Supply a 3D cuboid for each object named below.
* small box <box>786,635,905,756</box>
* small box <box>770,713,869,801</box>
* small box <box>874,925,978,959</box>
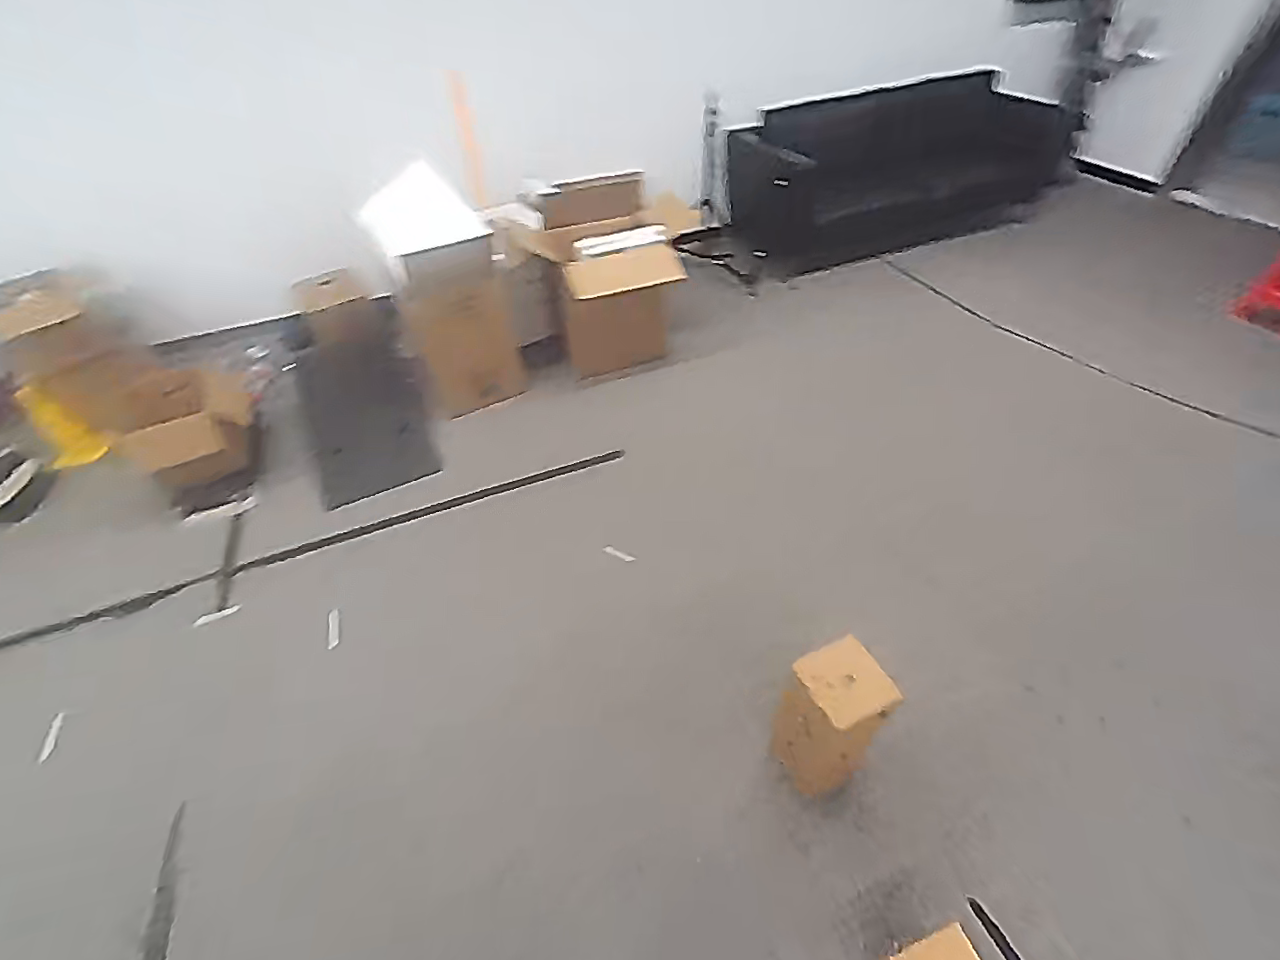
[{"bbox_3d":[0.454,0.489,1.227,0.179,0.176,0.168,-19,45,-15],"label":"small box"},{"bbox_3d":[0.473,0.724,1.455,0.179,0.176,0.168,-18,46,-16],"label":"small box"},{"bbox_3d":[0.608,1.057,1.114,0.179,0.176,0.168,-16,47,-12],"label":"small box"}]
